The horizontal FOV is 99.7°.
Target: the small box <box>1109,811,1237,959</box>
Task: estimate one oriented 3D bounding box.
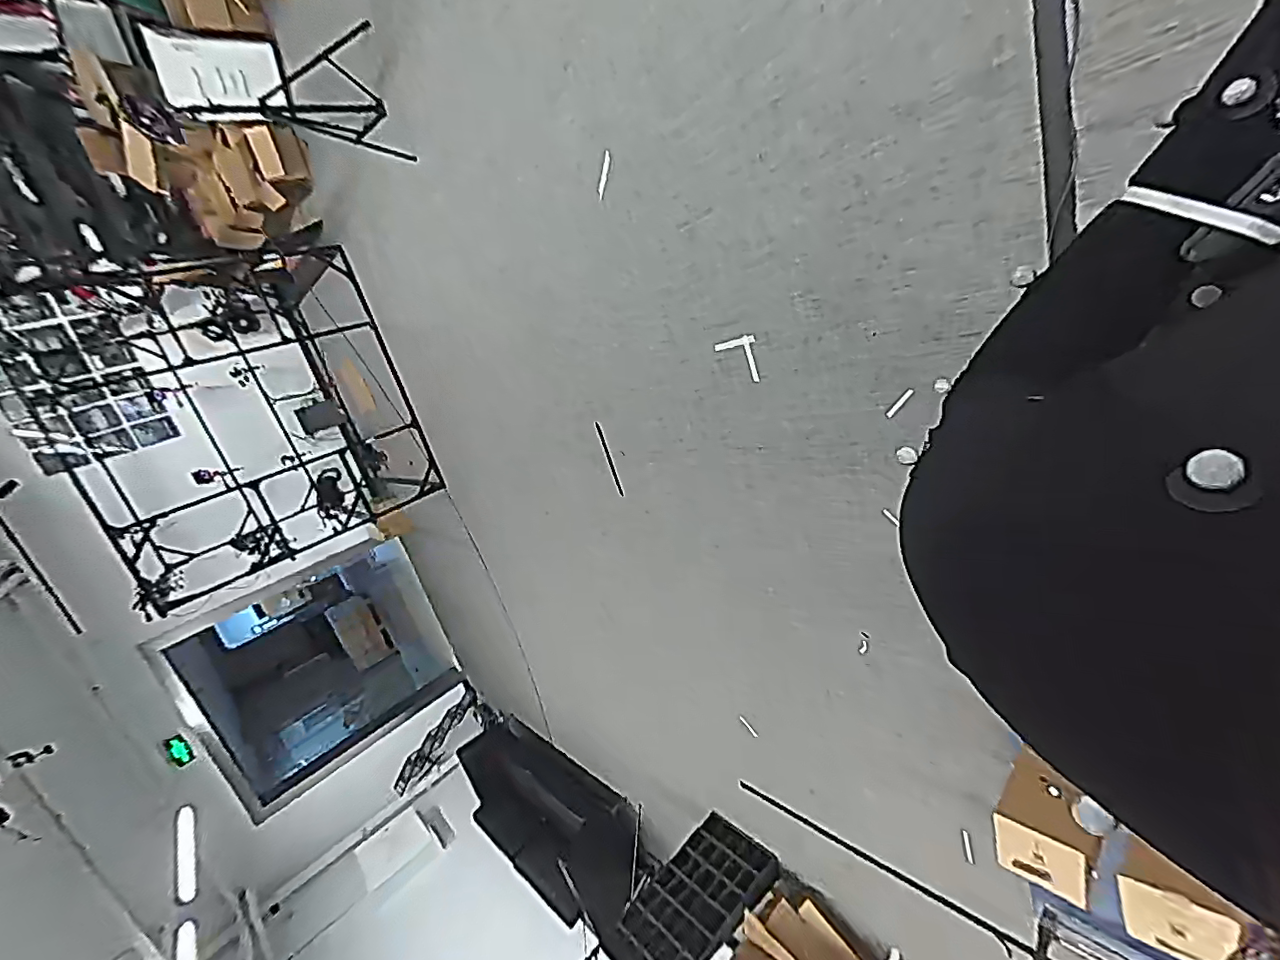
[{"bbox_3d":[1.072,0.820,1.087,0.168,0.176,0.179,-1,113,51],"label":"small box"}]

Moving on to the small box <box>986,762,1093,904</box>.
[{"bbox_3d":[0.927,0.807,1.253,0.168,0.176,0.179,7,119,49],"label":"small box"}]
